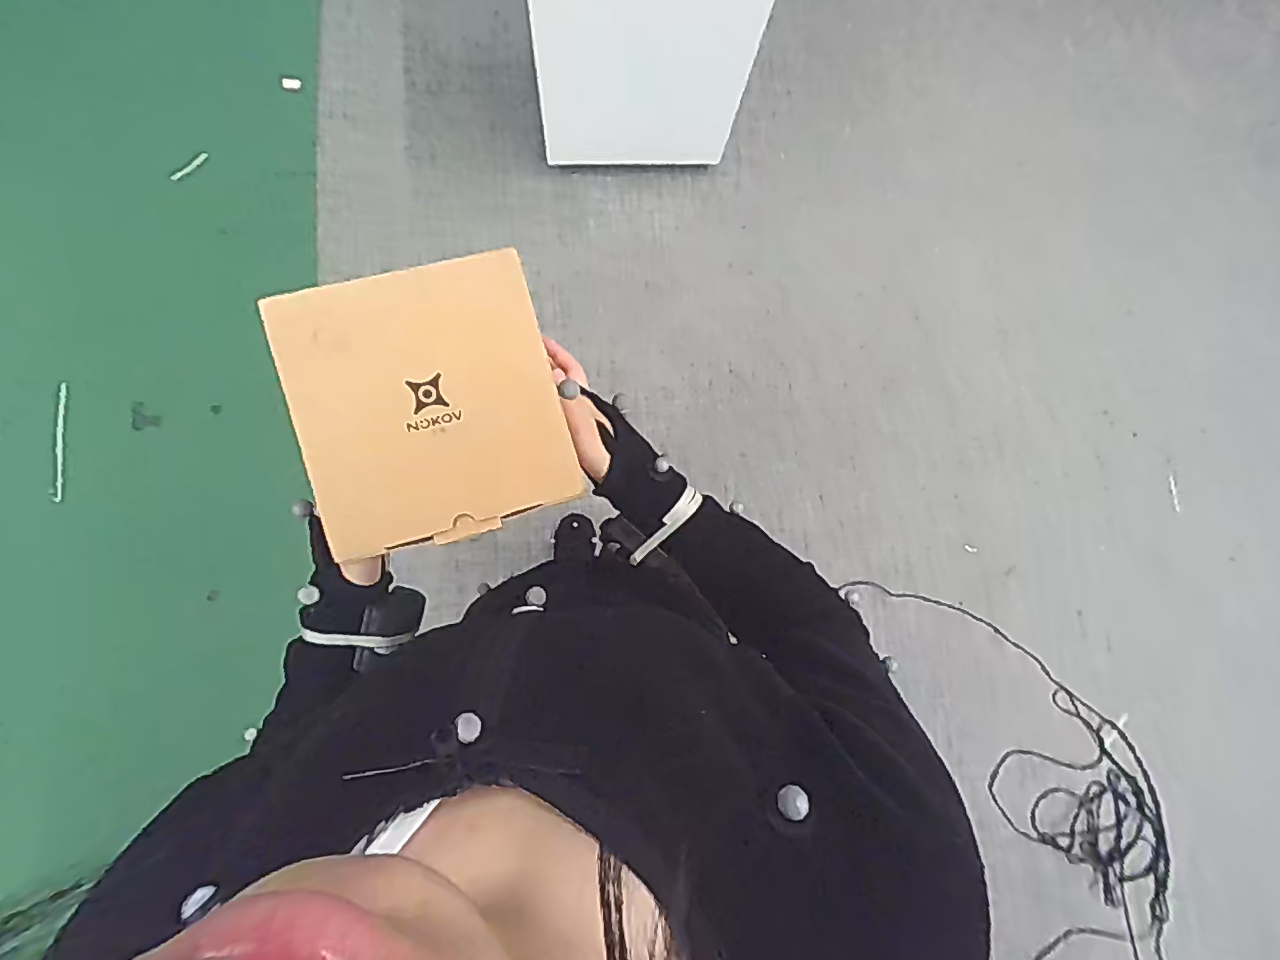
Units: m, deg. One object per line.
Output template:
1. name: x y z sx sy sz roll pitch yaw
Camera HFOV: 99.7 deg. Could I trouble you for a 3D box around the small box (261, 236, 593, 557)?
1. small box: -0.143 -0.052 0.417 0.168 0.176 0.179 -16 91 -9
